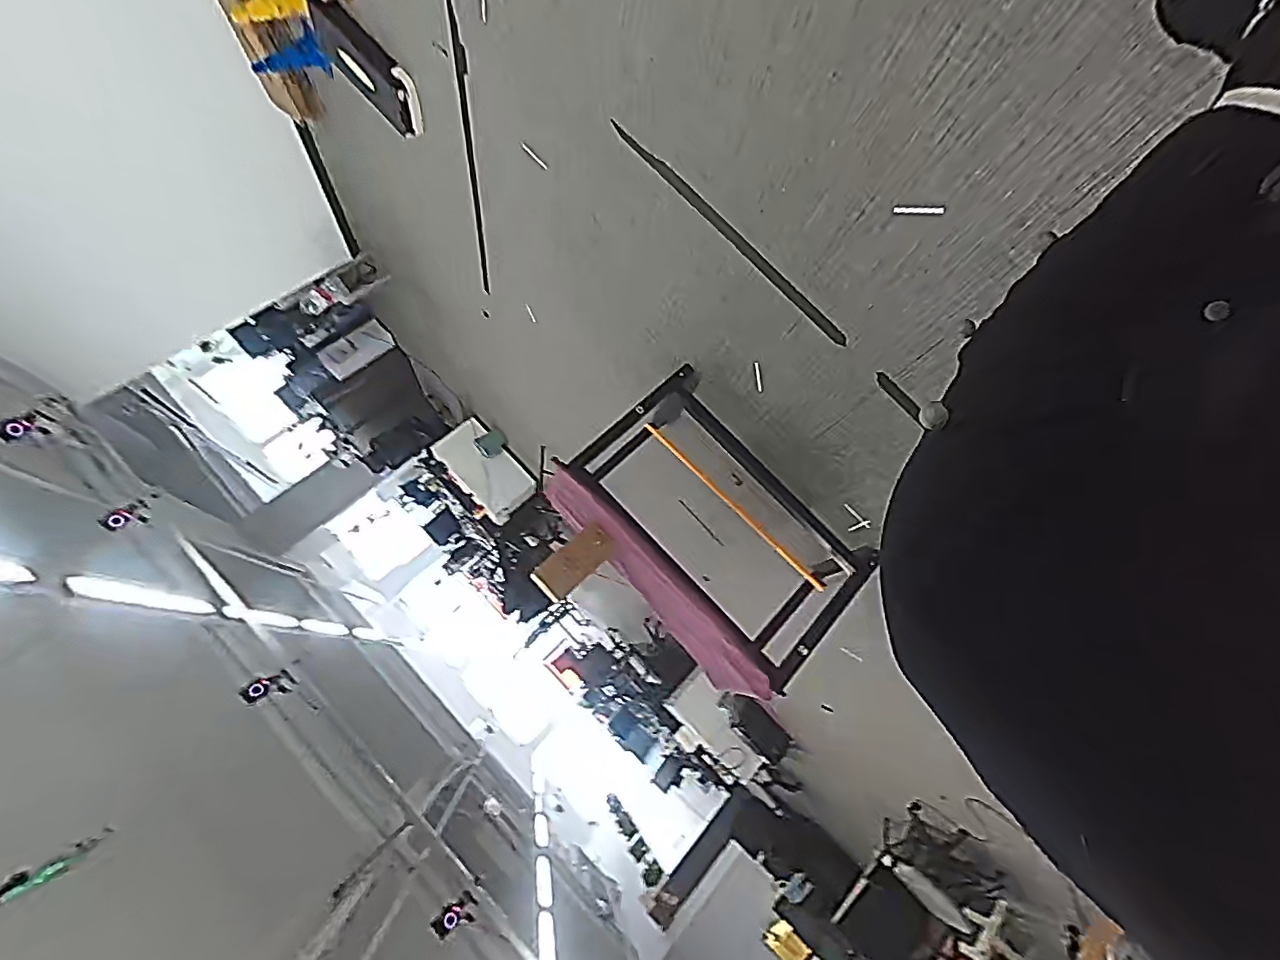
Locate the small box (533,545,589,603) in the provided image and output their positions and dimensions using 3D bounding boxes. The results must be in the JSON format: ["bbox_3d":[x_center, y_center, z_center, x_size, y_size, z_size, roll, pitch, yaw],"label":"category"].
[{"bbox_3d":[-0.331,0.395,2.272,0.168,0.176,0.179,46,159,2],"label":"small box"}]

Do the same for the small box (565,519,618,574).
[{"bbox_3d":[-0.215,0.293,2.330,0.168,0.176,0.179,47,159,2],"label":"small box"}]
